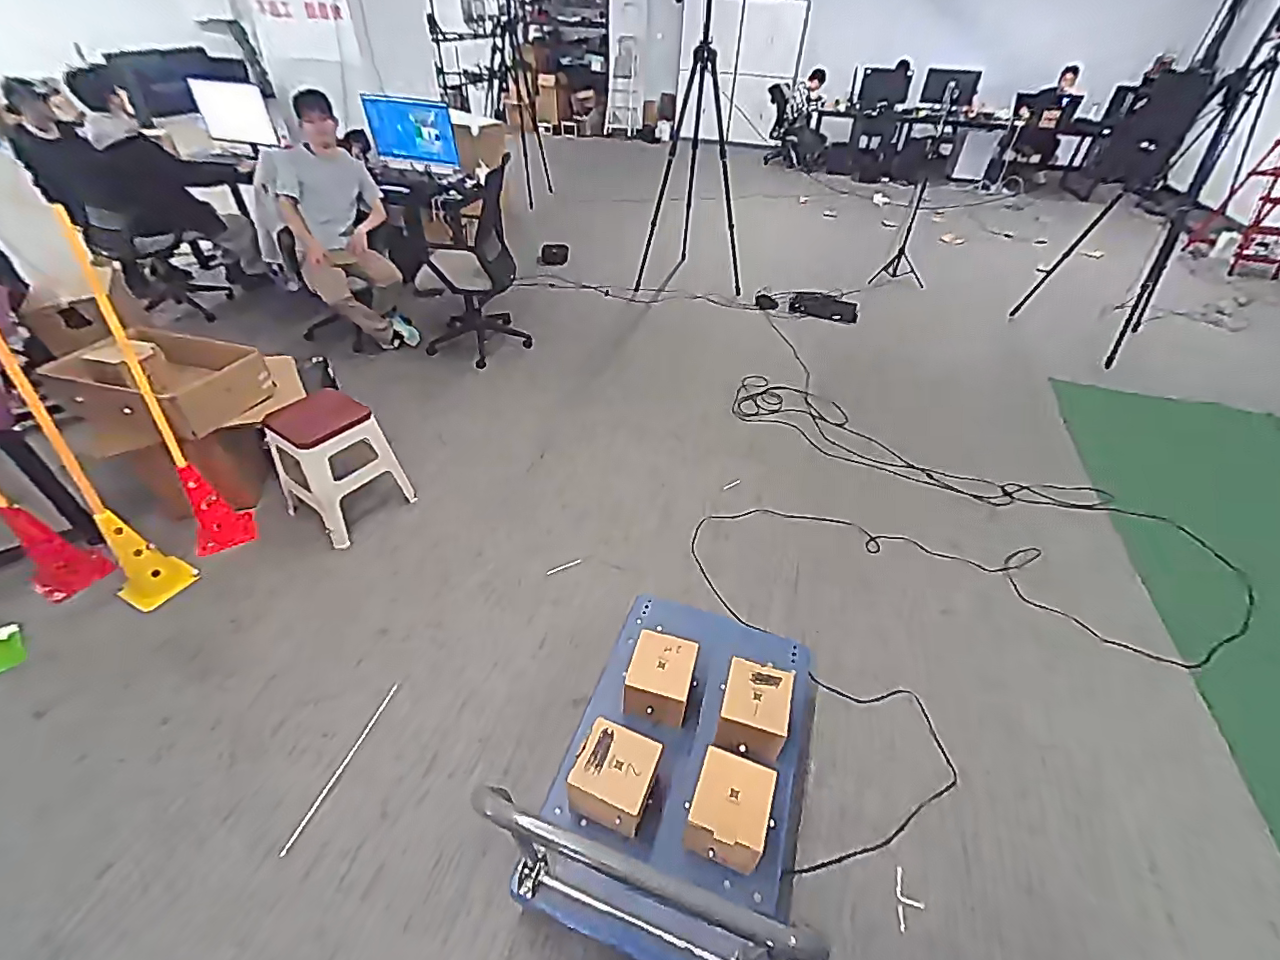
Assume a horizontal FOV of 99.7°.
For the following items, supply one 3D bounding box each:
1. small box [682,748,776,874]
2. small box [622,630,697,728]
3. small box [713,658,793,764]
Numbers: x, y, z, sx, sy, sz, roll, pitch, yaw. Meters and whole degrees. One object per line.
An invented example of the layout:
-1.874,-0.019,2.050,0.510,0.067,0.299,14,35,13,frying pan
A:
0.202,0.766,1.250,0.168,0.176,0.179,16,44,14,small box
0.053,0.549,1.483,0.168,0.176,0.179,13,43,10,small box
0.295,0.610,1.428,0.168,0.176,0.179,14,44,13,small box
